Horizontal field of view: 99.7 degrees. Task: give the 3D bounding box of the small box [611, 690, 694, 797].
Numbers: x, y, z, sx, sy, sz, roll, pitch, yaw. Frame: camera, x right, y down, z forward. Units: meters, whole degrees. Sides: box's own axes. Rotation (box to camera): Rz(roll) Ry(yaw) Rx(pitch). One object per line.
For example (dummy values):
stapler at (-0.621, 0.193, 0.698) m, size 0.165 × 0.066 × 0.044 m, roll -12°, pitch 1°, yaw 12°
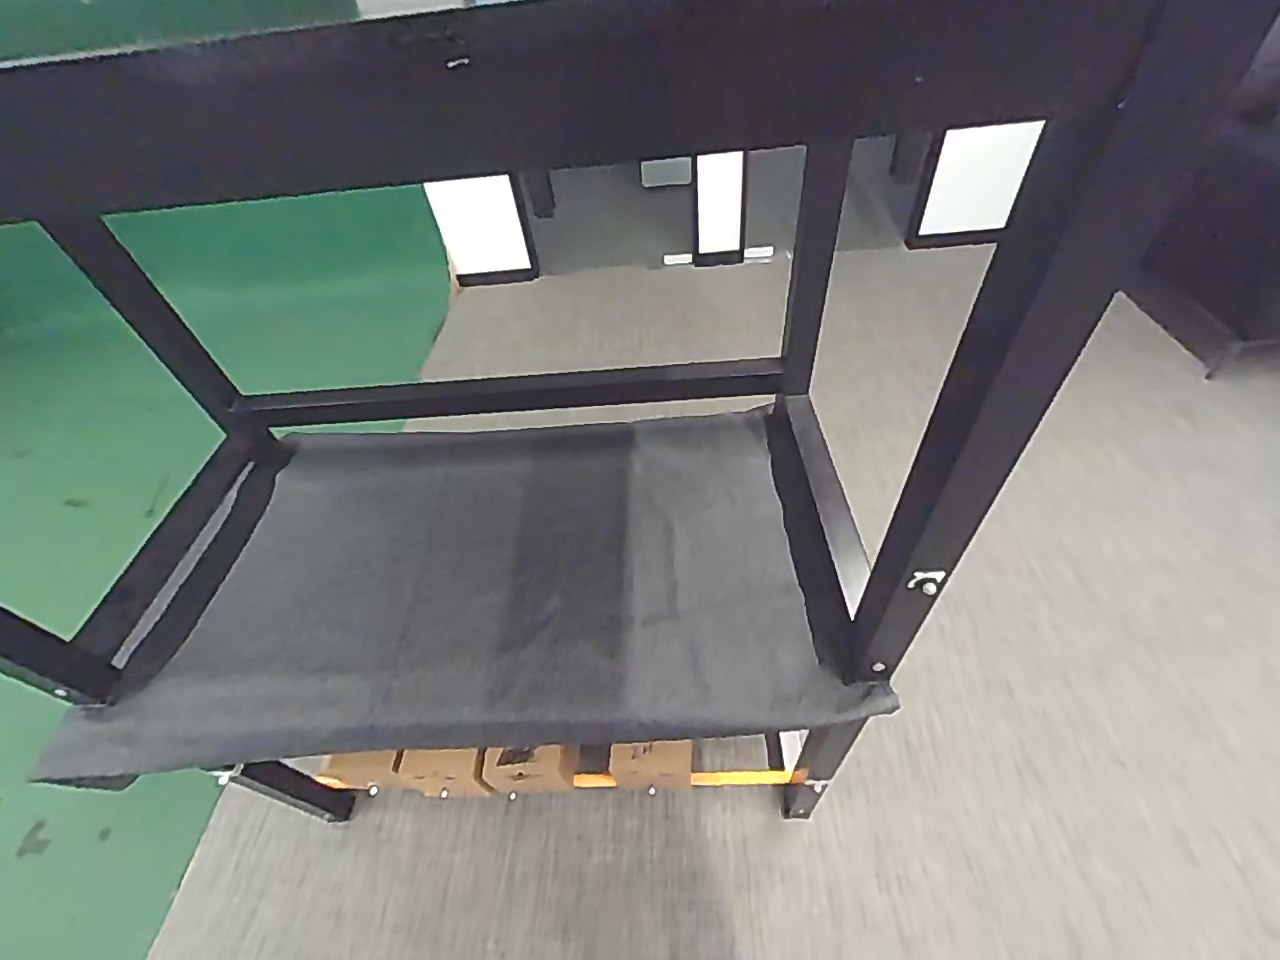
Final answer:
small box at (0.036, 0.601, 1.232) m, size 0.168 × 0.176 × 0.179 m, roll 0°, pitch 49°, yaw 9°
